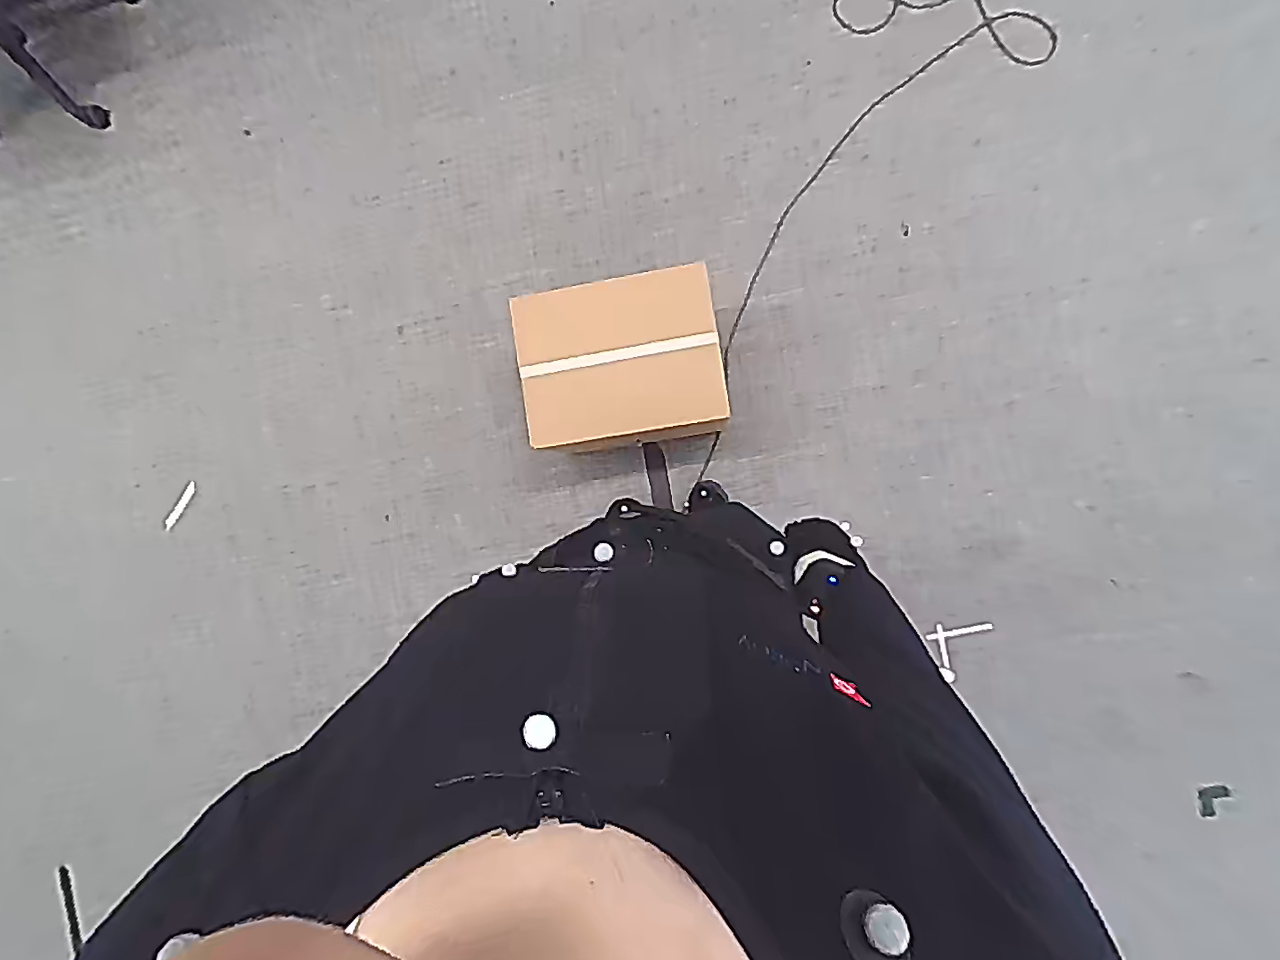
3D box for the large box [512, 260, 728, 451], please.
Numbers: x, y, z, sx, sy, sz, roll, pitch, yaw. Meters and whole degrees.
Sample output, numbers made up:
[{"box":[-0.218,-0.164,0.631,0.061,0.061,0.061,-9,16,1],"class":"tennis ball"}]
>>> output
[{"box":[-0.032,-0.254,1.232,0.408,0.320,0.320,-9,91,5],"class":"large box"}]
